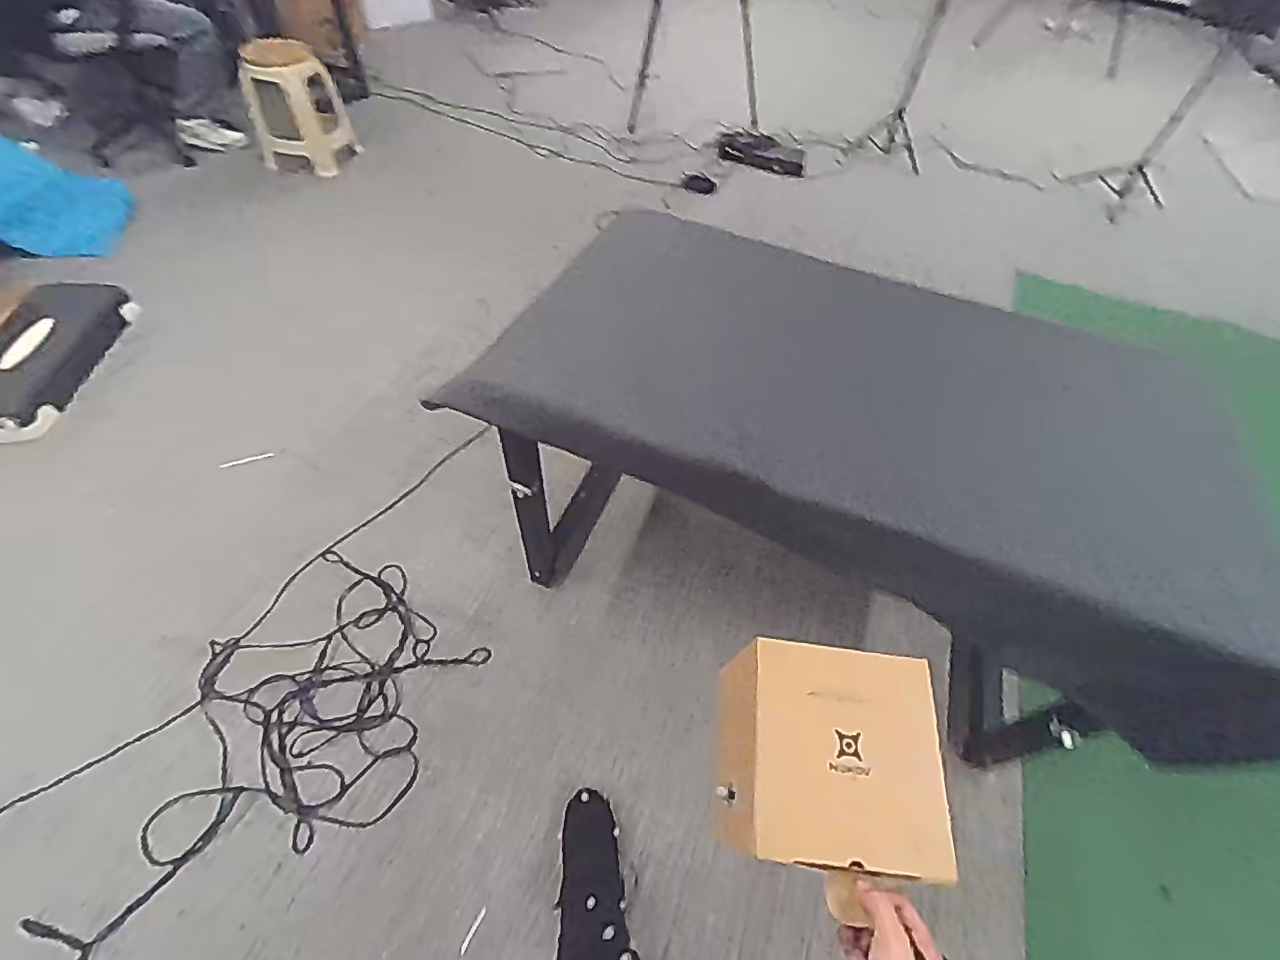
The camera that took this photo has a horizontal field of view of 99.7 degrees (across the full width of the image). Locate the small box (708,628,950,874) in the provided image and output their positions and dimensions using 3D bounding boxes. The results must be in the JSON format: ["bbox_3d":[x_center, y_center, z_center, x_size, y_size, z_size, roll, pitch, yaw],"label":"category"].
[{"bbox_3d":[0.167,0.264,0.535,0.168,0.176,0.179,9,59,-3],"label":"small box"}]
